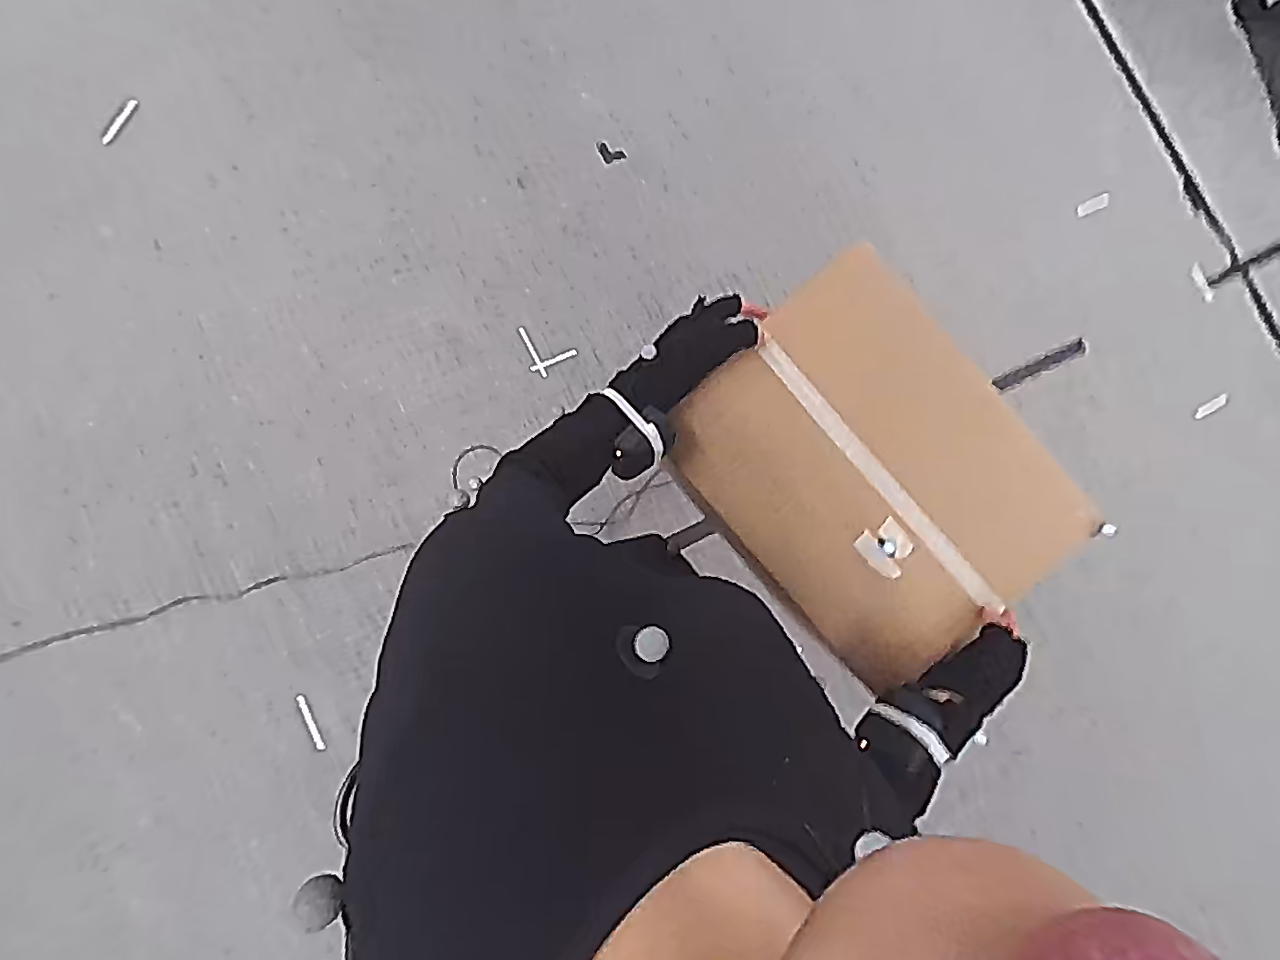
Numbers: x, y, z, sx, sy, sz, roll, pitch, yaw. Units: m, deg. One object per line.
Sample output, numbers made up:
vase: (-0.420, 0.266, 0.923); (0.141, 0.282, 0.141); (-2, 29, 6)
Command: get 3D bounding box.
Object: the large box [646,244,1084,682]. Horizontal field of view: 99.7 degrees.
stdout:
large box: (0.250, -0.022, 0.747); (0.320, 0.320, 0.408); (-40, 91, 2)
